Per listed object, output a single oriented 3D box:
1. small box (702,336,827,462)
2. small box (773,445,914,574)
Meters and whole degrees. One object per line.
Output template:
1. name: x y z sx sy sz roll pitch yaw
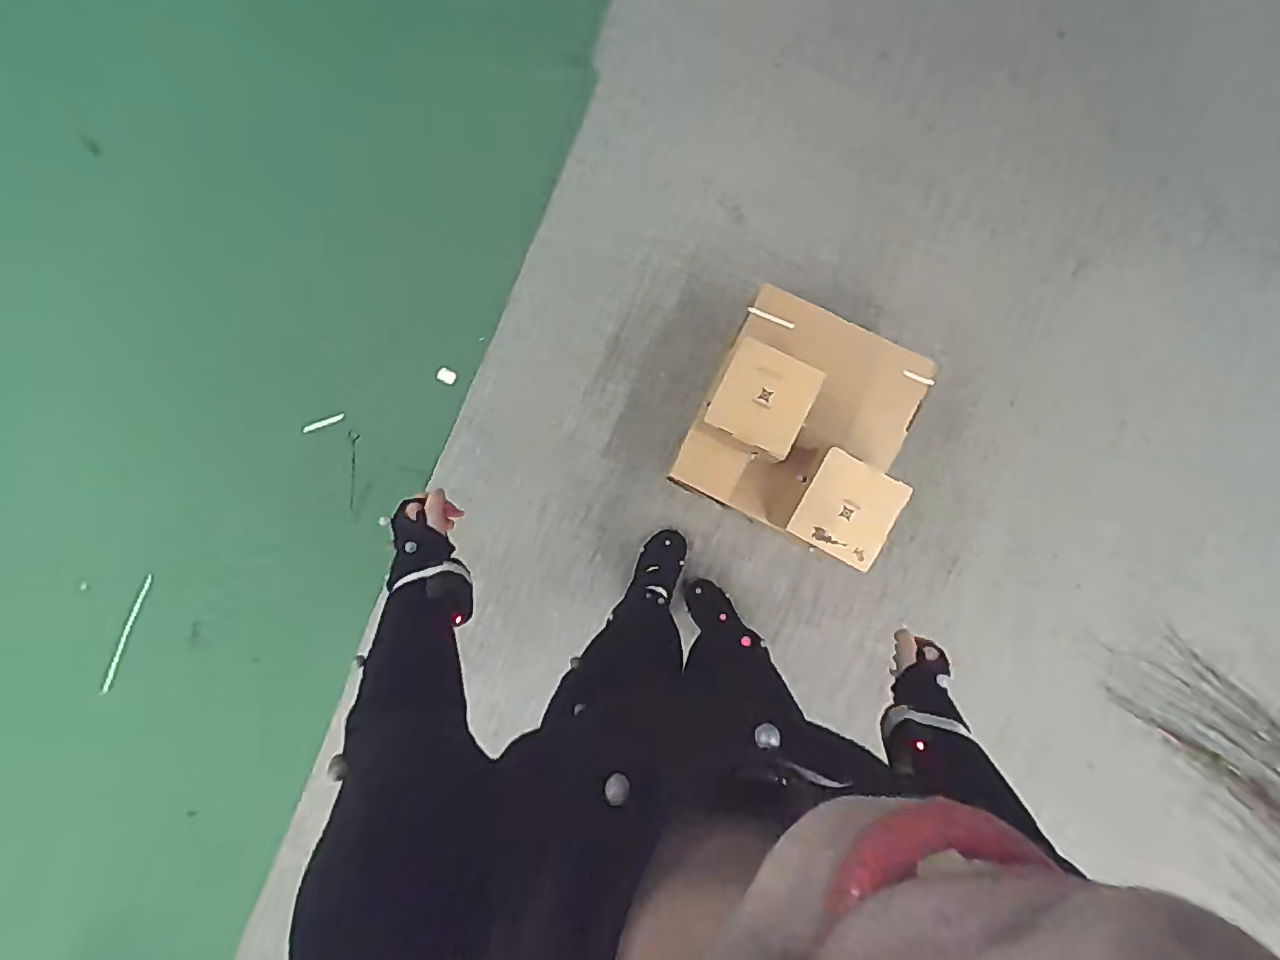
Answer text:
1. small box: 0.229 -0.145 1.044 0.168 0.176 0.179 27 90 3
2. small box: 0.373 0.053 1.030 0.168 0.176 0.179 29 90 3
